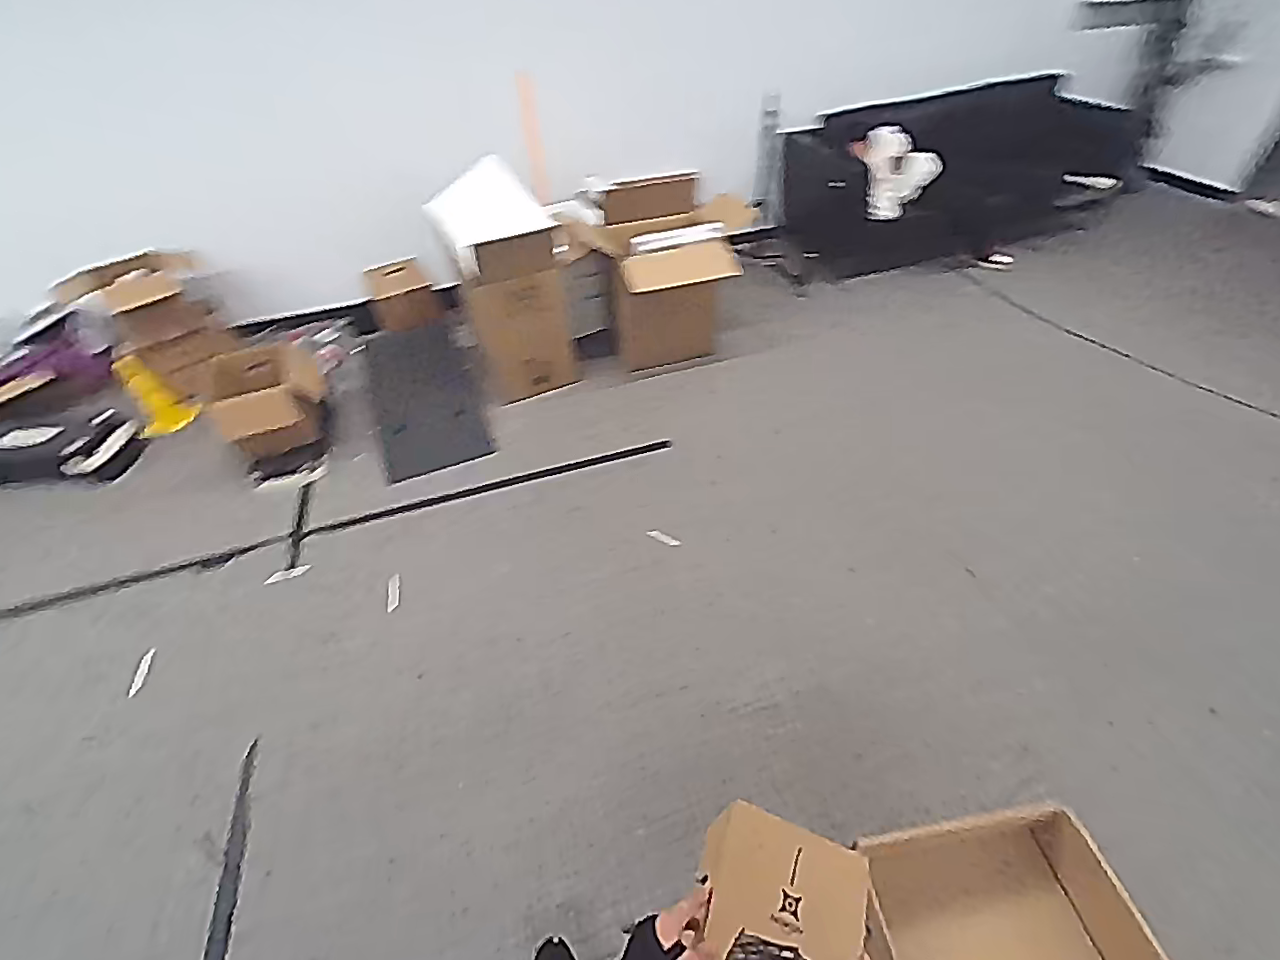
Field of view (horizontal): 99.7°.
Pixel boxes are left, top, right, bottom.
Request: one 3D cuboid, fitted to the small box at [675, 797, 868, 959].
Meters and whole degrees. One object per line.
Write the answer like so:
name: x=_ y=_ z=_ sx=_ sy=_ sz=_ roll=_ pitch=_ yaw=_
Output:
small box: x=0.146 y=0.516 z=0.631 sx=0.168 sy=0.176 sz=0.179 roll=19 pitch=46 yaw=10
